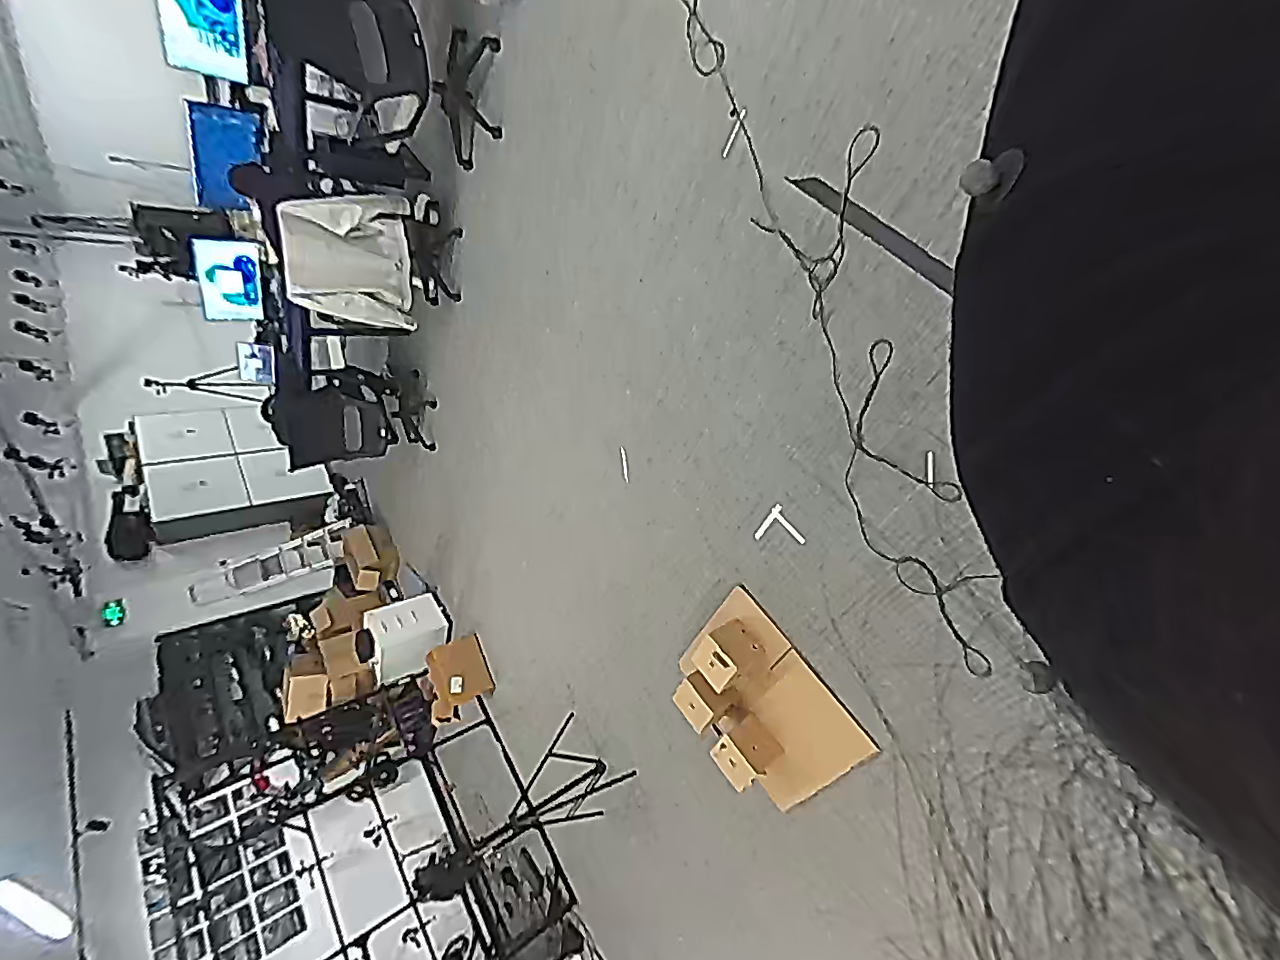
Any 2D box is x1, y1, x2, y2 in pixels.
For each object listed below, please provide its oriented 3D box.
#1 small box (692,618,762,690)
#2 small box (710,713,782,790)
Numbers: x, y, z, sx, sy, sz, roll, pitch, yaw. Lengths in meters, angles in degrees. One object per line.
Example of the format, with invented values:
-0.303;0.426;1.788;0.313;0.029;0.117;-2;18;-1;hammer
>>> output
0.332;0.650;2.040;0.168;0.176;0.179;48;133;30;small box
0.407;1.026;2.058;0.179;0.176;0.168;46;132;30;small box
